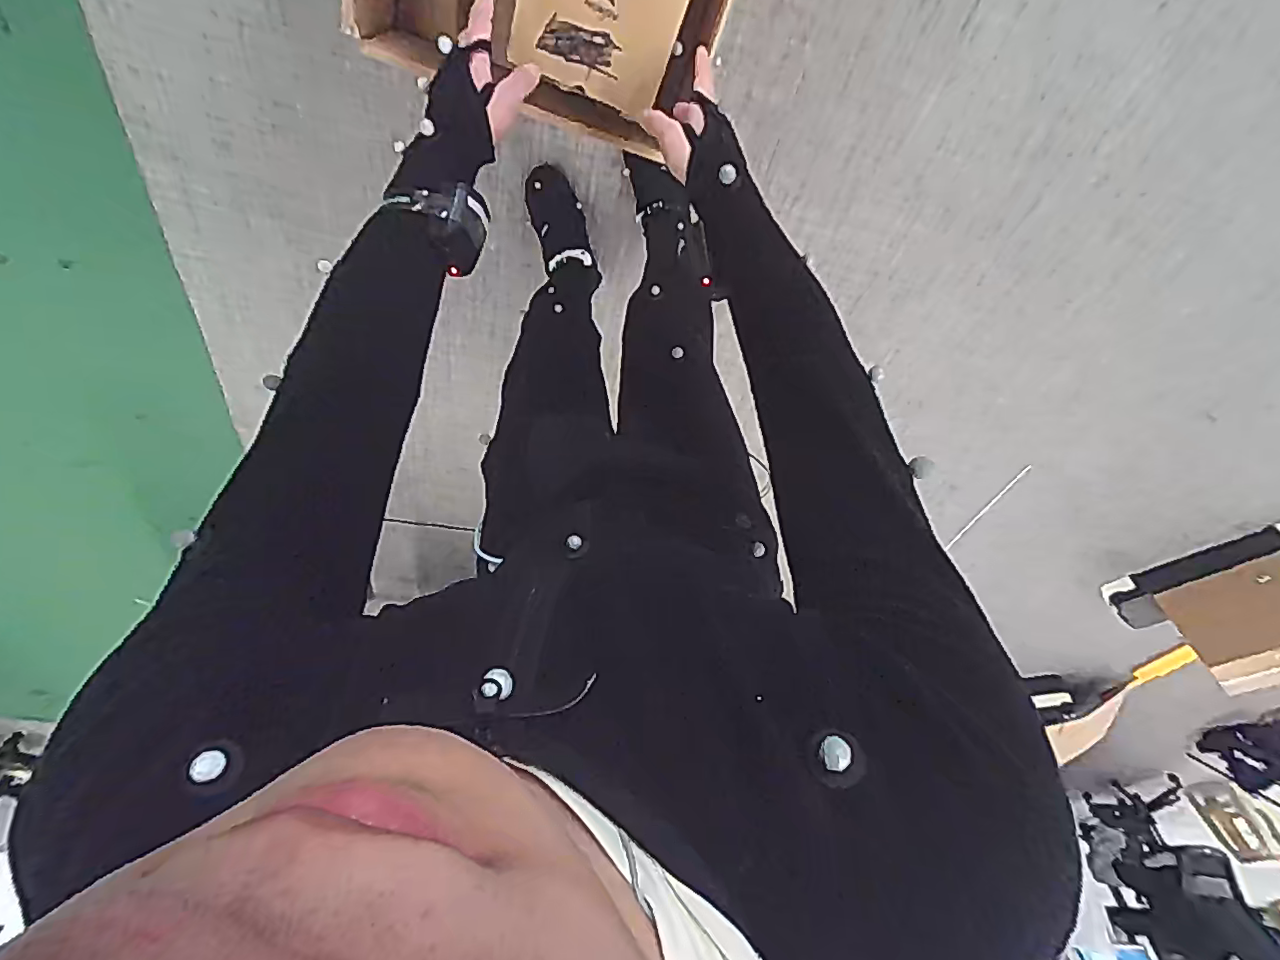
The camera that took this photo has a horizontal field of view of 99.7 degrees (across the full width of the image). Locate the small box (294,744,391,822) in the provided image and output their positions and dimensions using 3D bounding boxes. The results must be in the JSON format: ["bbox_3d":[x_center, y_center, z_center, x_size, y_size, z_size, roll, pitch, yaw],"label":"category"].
[{"bbox_3d":[-0.871,0.894,1.602,0.168,0.176,0.179,-5,135,5],"label":"small box"}]
